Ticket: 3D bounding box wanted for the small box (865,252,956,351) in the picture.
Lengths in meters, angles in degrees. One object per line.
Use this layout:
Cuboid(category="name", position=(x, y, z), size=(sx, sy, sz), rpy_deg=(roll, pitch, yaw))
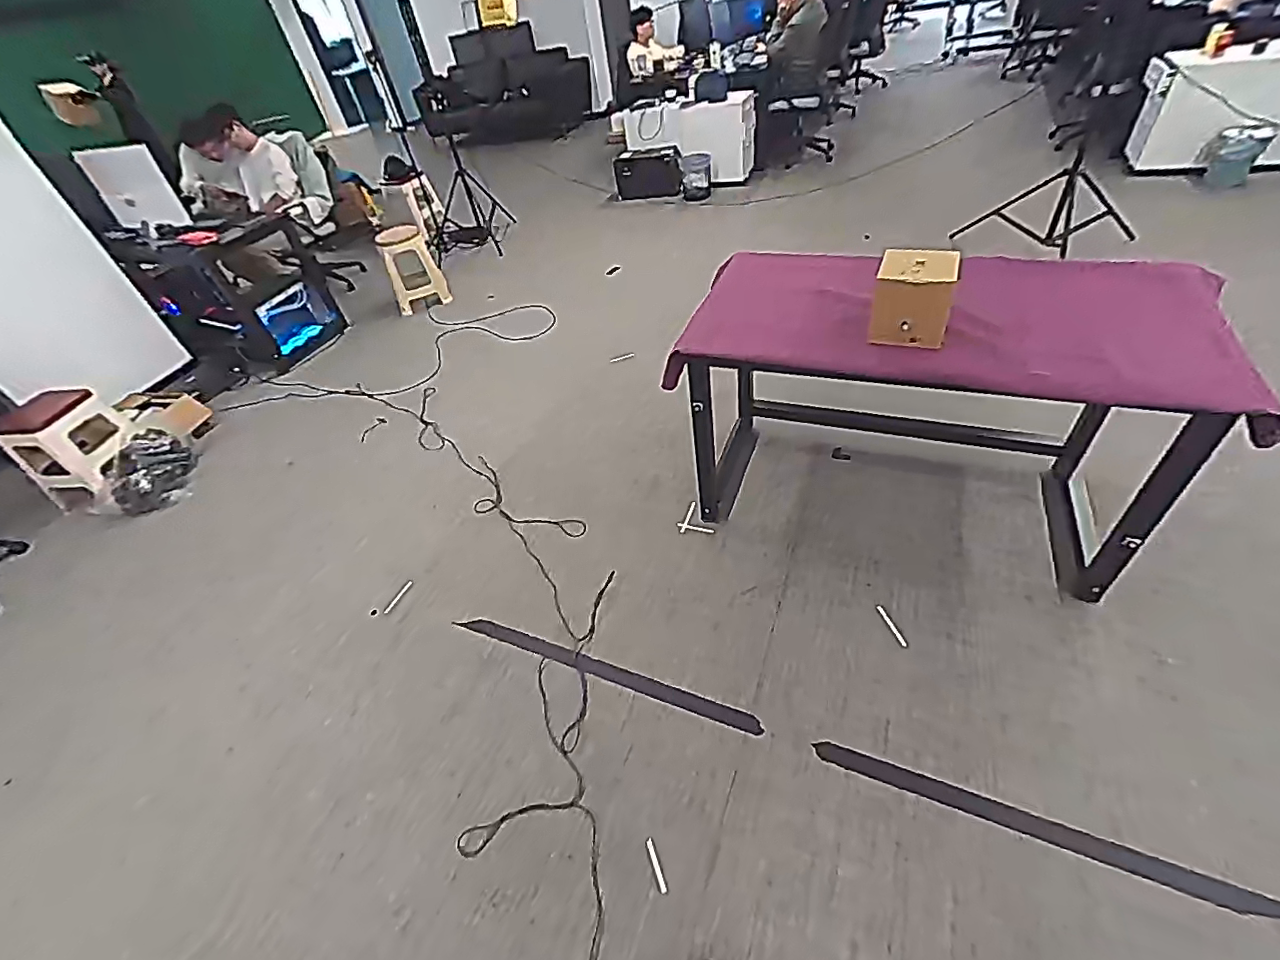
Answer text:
Cuboid(category="small box", position=(0.657, -0.439, 1.324), size=(0.168, 0.176, 0.179), rpy_deg=(12, 47, 24))
